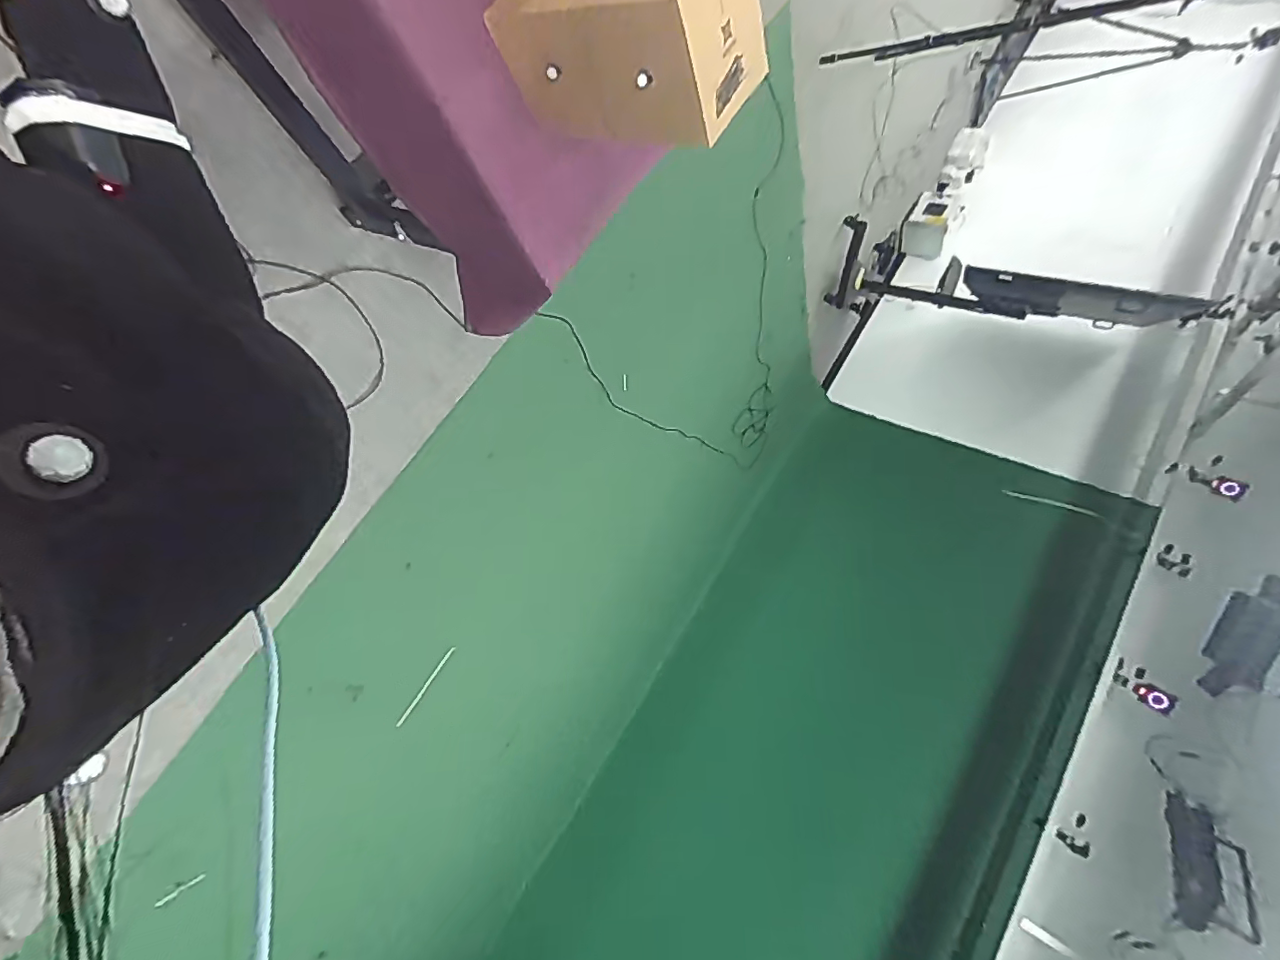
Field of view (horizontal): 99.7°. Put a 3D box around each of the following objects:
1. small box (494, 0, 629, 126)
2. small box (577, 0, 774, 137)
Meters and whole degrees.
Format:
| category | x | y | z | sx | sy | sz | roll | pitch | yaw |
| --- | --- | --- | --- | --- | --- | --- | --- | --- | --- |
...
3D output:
| category | x | y | z | sx | sy | sz | roll | pitch | yaw |
| --- | --- | --- | --- | --- | --- | --- | --- | --- | --- |
| small box | -0.076 | -0.651 | 0.786 | 0.168 | 0.176 | 0.179 | -57 | 148 | -11 |
| small box | 0.051 | -0.587 | 0.701 | 0.168 | 0.176 | 0.179 | -57 | 149 | -13 |
